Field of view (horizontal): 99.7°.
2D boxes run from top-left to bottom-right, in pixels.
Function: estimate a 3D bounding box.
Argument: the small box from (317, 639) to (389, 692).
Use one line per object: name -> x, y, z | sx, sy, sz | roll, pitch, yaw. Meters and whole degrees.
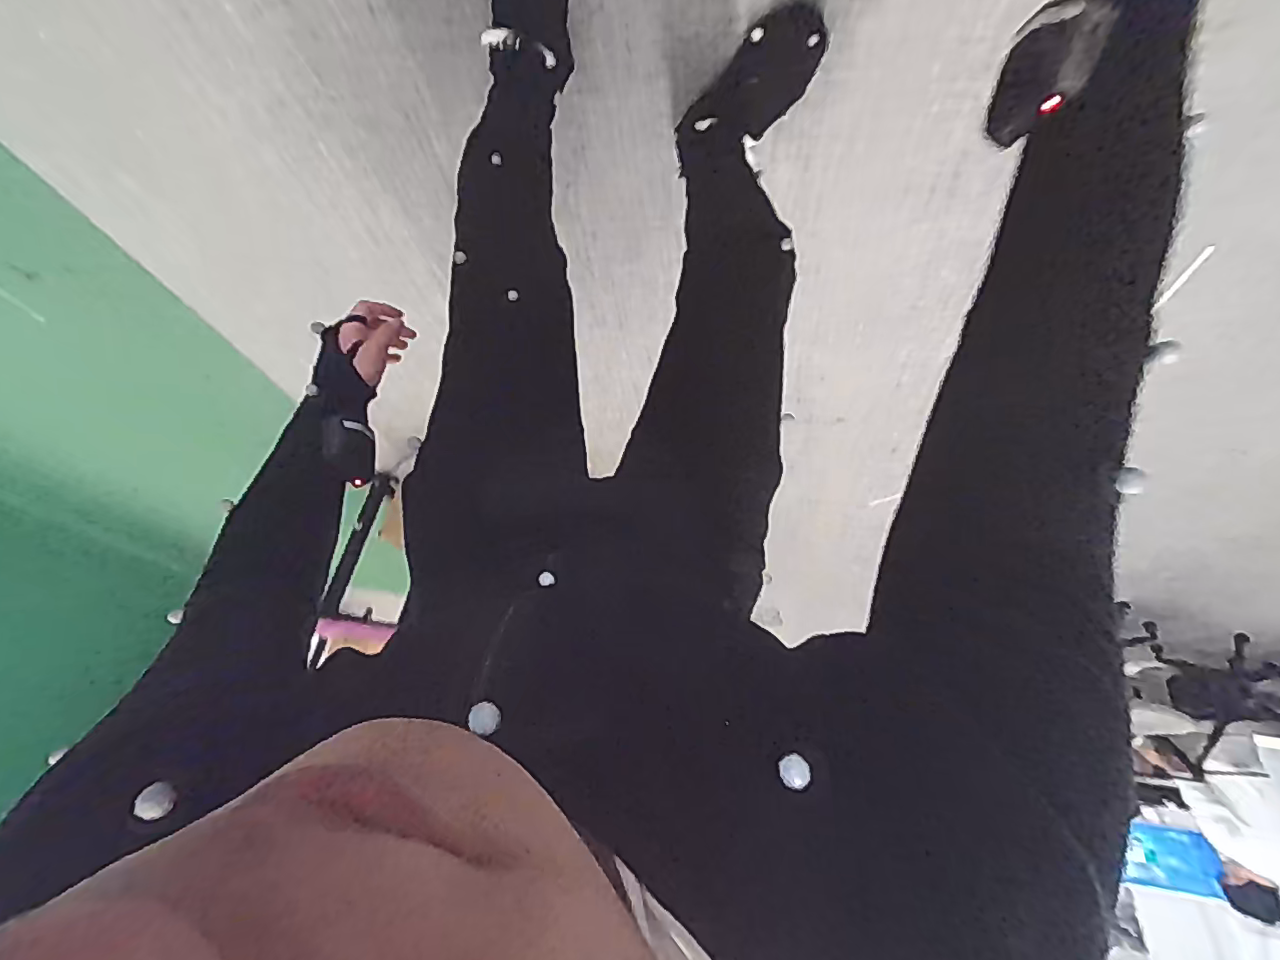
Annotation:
small box -> -1.130, 0.738, 2.145 | 0.168, 0.176, 0.179 | 3, 154, 8
